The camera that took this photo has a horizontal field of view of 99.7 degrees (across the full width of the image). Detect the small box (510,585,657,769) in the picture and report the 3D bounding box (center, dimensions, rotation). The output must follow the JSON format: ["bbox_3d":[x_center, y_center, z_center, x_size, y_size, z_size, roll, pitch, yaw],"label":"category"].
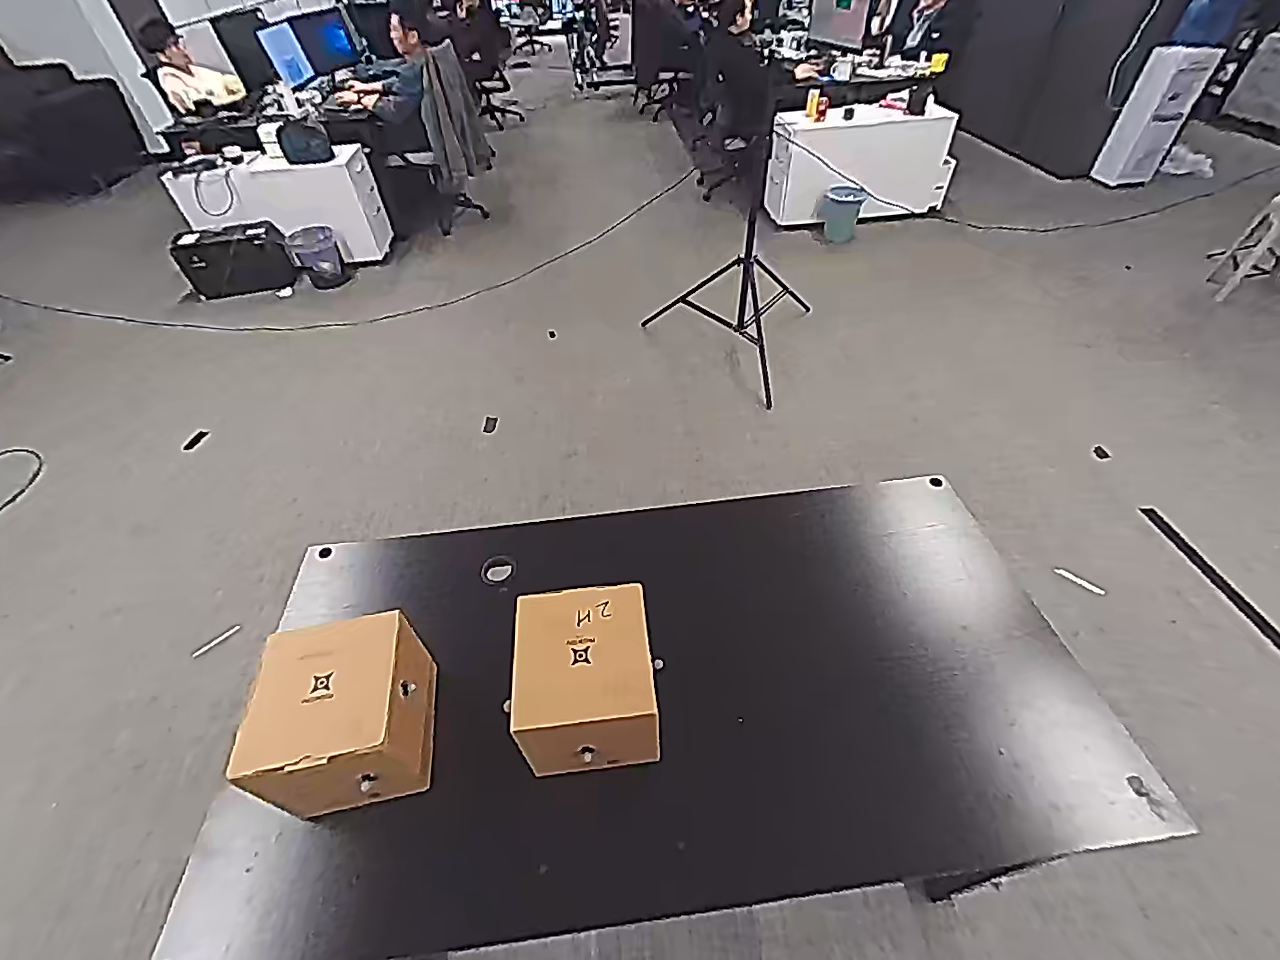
[{"bbox_3d":[-0.068,0.264,0.713,0.168,0.176,0.179,-5,46,-3],"label":"small box"}]

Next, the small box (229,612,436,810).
[{"bbox_3d":[-0.373,0.301,0.696,0.168,0.176,0.179,-9,45,-8],"label":"small box"}]
